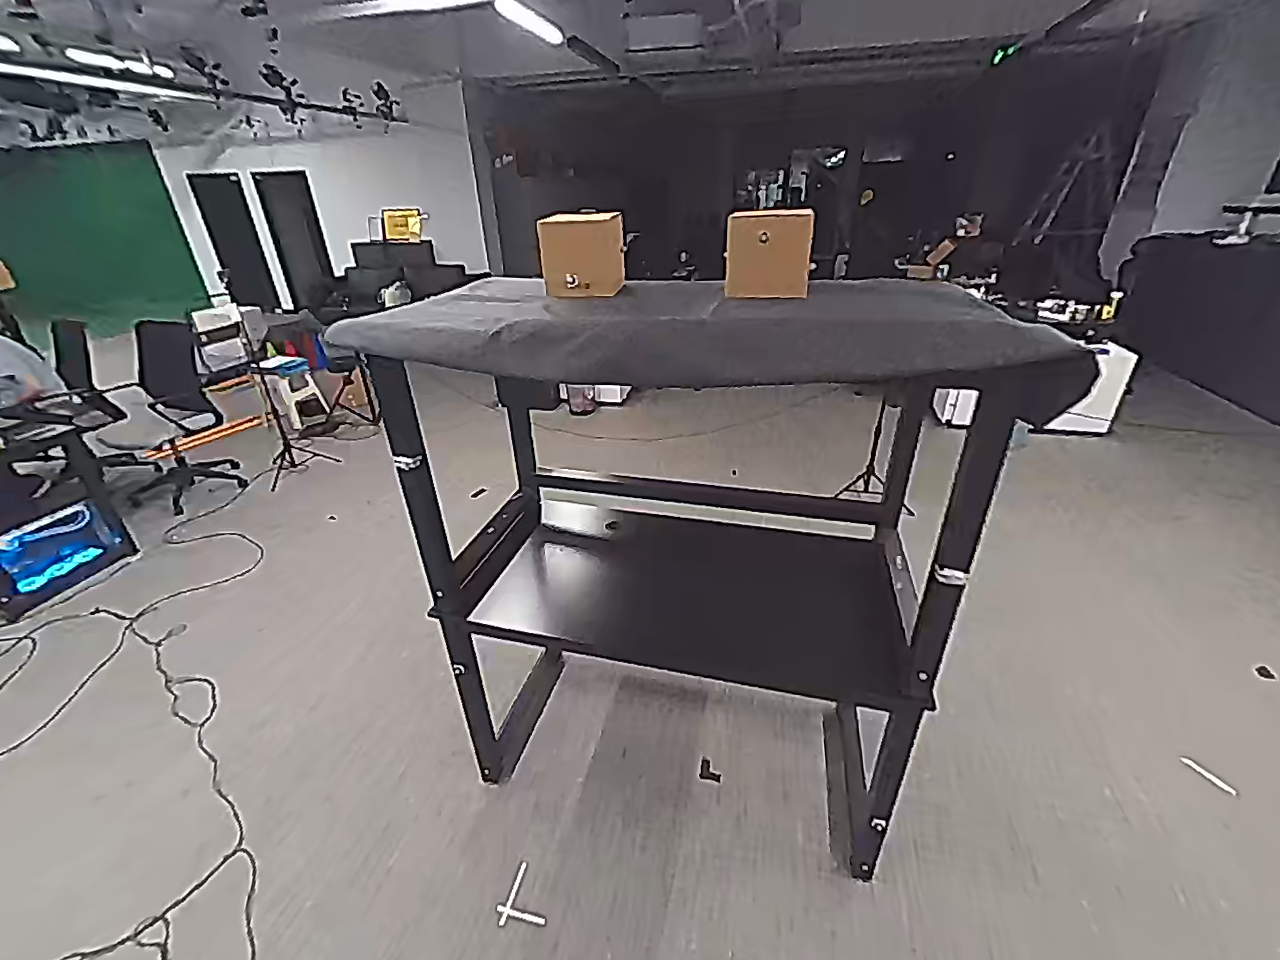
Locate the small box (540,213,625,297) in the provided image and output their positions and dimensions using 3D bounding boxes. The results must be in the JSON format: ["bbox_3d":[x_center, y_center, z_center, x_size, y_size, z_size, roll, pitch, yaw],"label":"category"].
[{"bbox_3d":[-0.130,-0.546,1.306,0.168,0.176,0.179,1,29,9],"label":"small box"}]

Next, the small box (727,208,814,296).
[{"bbox_3d":[0.294,-0.516,1.222,0.179,0.176,0.168,6,30,14],"label":"small box"}]
